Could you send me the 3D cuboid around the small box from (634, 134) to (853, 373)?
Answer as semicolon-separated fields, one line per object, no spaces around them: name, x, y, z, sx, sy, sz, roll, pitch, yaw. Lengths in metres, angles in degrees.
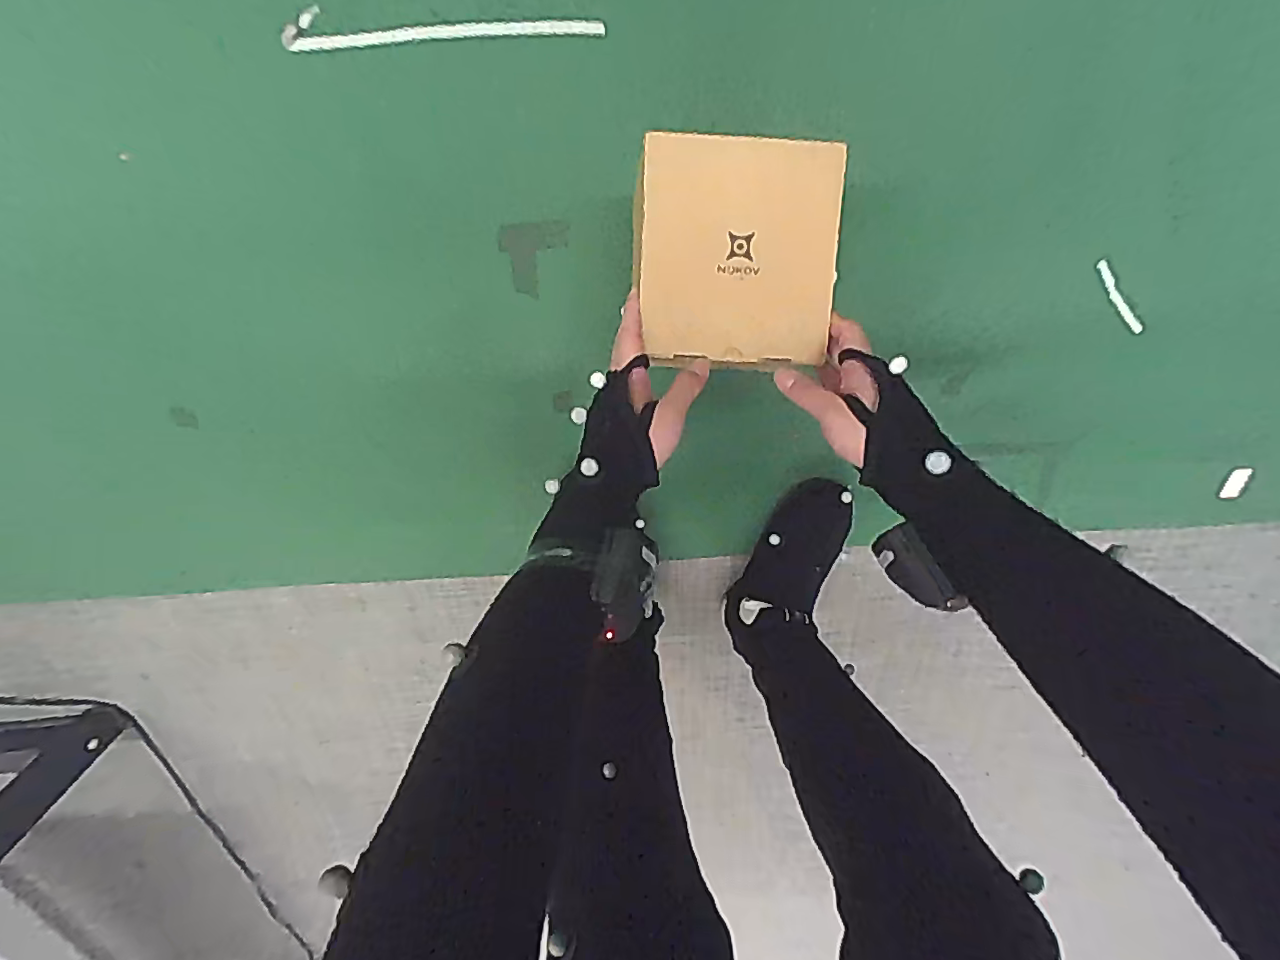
small box;0.081;-0.196;0.519;0.168;0.176;0.179;1;101;-4
